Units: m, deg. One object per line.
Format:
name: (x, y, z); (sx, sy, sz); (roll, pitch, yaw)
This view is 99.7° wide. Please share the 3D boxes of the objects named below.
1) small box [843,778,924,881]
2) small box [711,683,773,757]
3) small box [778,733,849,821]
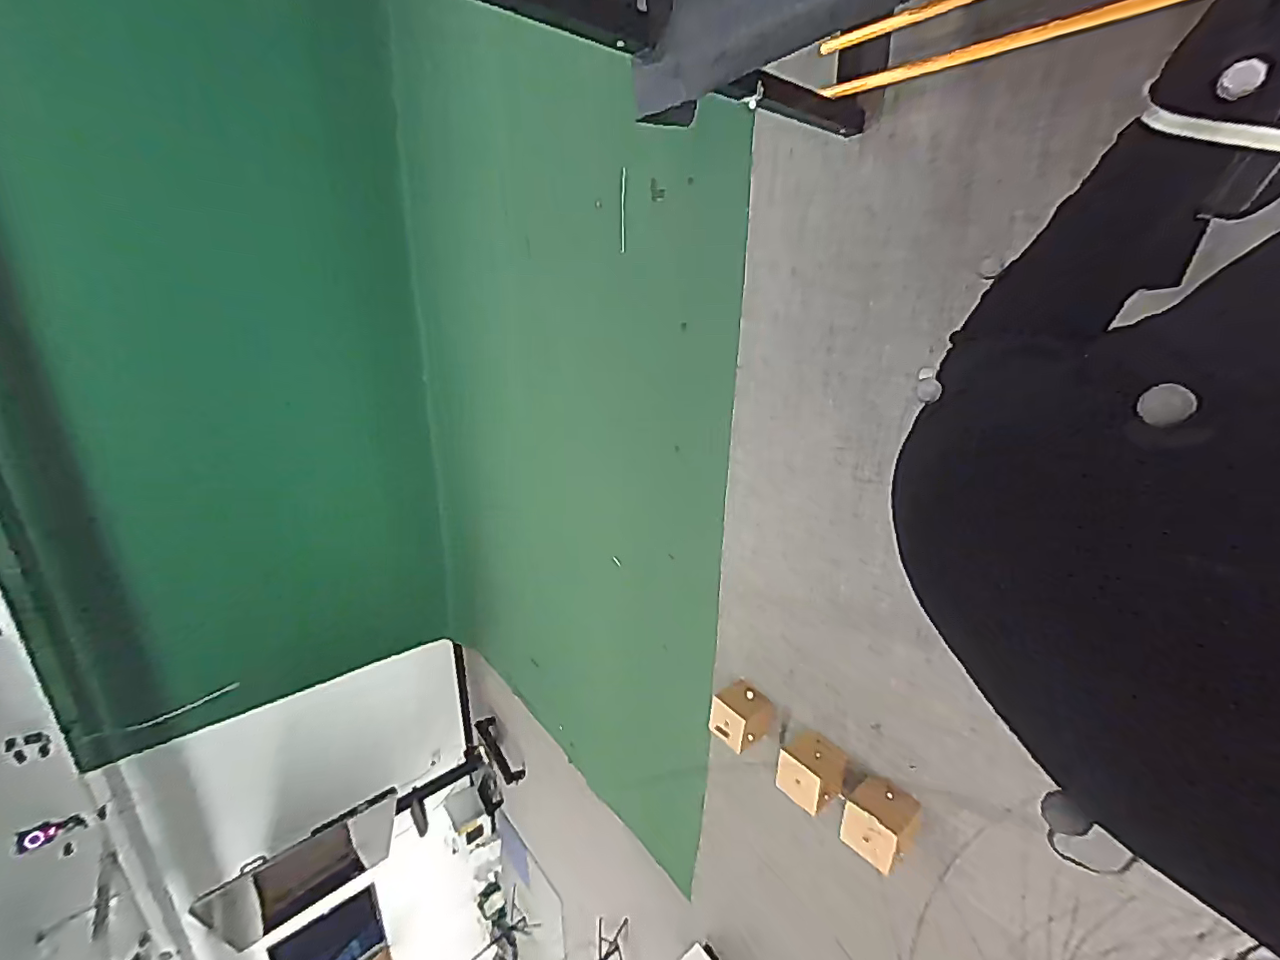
small box: (0.771, 1.100, 1.712); (0.168, 0.176, 0.179); (23, 118, 46)
small box: (0.404, 0.942, 2.135); (0.168, 0.176, 0.179); (27, 120, 45)
small box: (0.611, 1.034, 1.901); (0.168, 0.176, 0.179); (22, 118, 47)
